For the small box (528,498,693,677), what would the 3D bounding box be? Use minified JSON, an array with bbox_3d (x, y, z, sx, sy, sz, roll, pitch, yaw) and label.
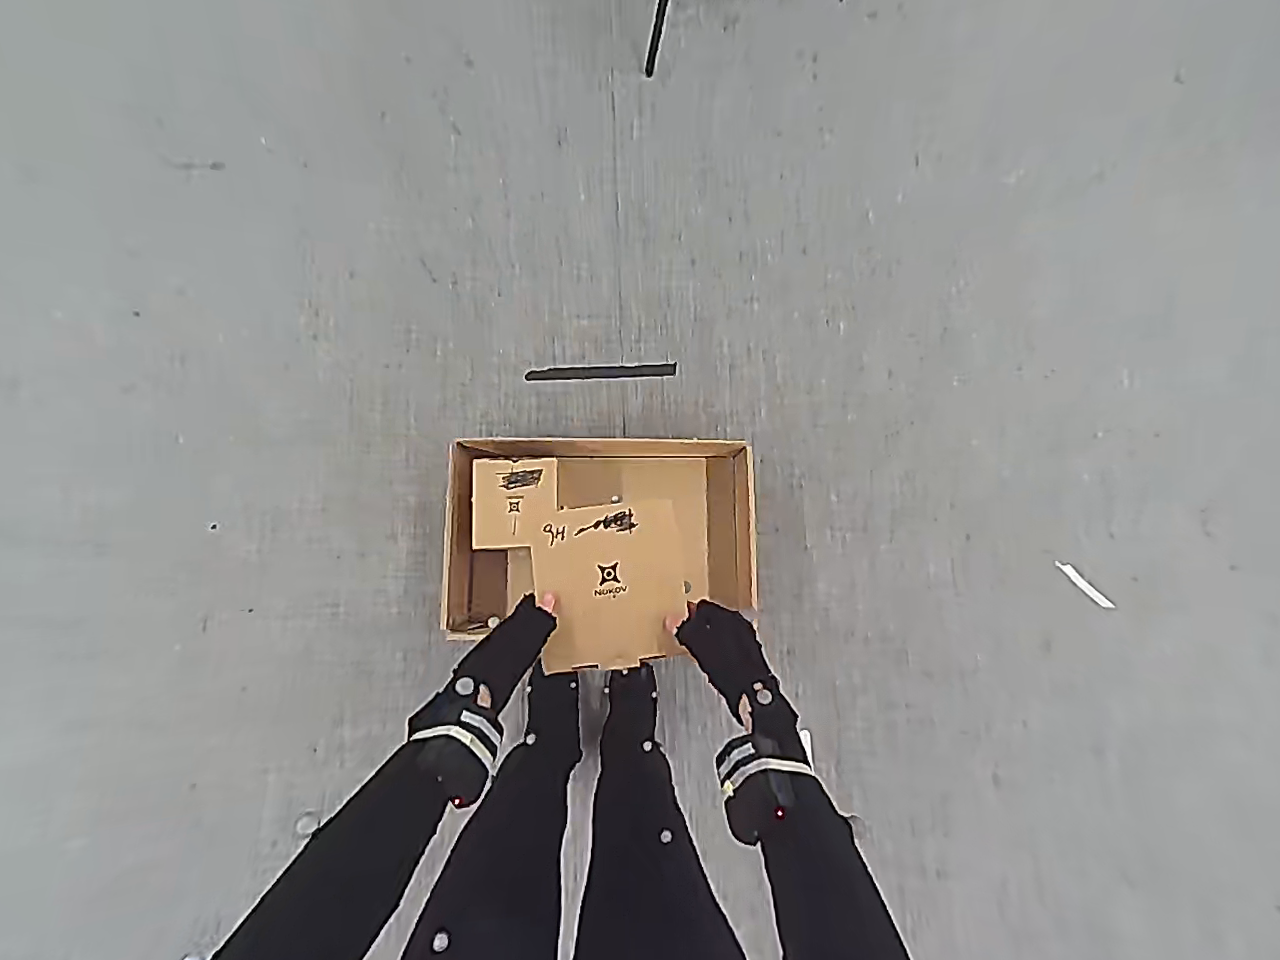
[{"bbox_3d":[-0.033,0.129,0.664,0.168,0.176,0.179,-8,78,-2],"label":"small box"}]
